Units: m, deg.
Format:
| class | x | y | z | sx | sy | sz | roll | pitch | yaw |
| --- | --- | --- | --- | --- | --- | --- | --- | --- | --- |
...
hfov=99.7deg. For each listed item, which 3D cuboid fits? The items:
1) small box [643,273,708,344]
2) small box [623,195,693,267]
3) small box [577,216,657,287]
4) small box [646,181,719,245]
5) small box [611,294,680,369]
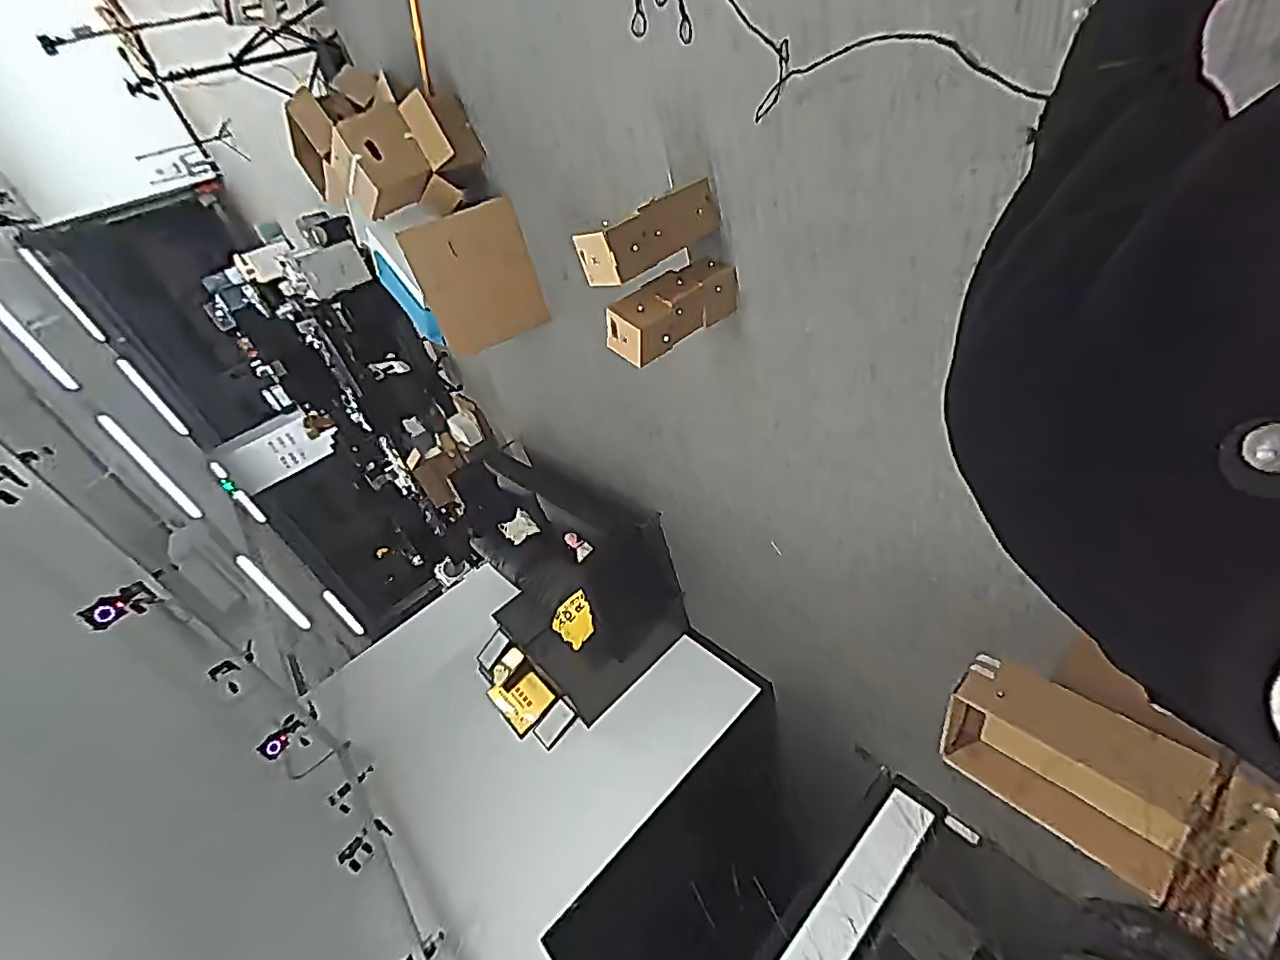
| class | x | y | z | sx | sy | sz | roll | pitch | yaw |
| --- | --- | --- | --- | --- | --- | --- | --- | --- | --- |
| small box | 0.130 | -0.620 | 1.962 | 0.168 | 0.176 | 0.179 | 38 | 151 | 31 |
| small box | 0.050 | -0.827 | 1.823 | 0.168 | 0.176 | 0.179 | 13 | 135 | 53 |
| small box | -0.065 | -0.738 | 1.749 | 0.179 | 0.176 | 0.168 | 20 | 140 | 47 |
| small box | 0.158 | -0.926 | 1.896 | 0.179 | 0.176 | 0.168 | 19 | 139 | 51 |
| small box | 0.016 | -0.527 | 1.889 | 0.179 | 0.176 | 0.168 | 40 | 152 | 26 |
